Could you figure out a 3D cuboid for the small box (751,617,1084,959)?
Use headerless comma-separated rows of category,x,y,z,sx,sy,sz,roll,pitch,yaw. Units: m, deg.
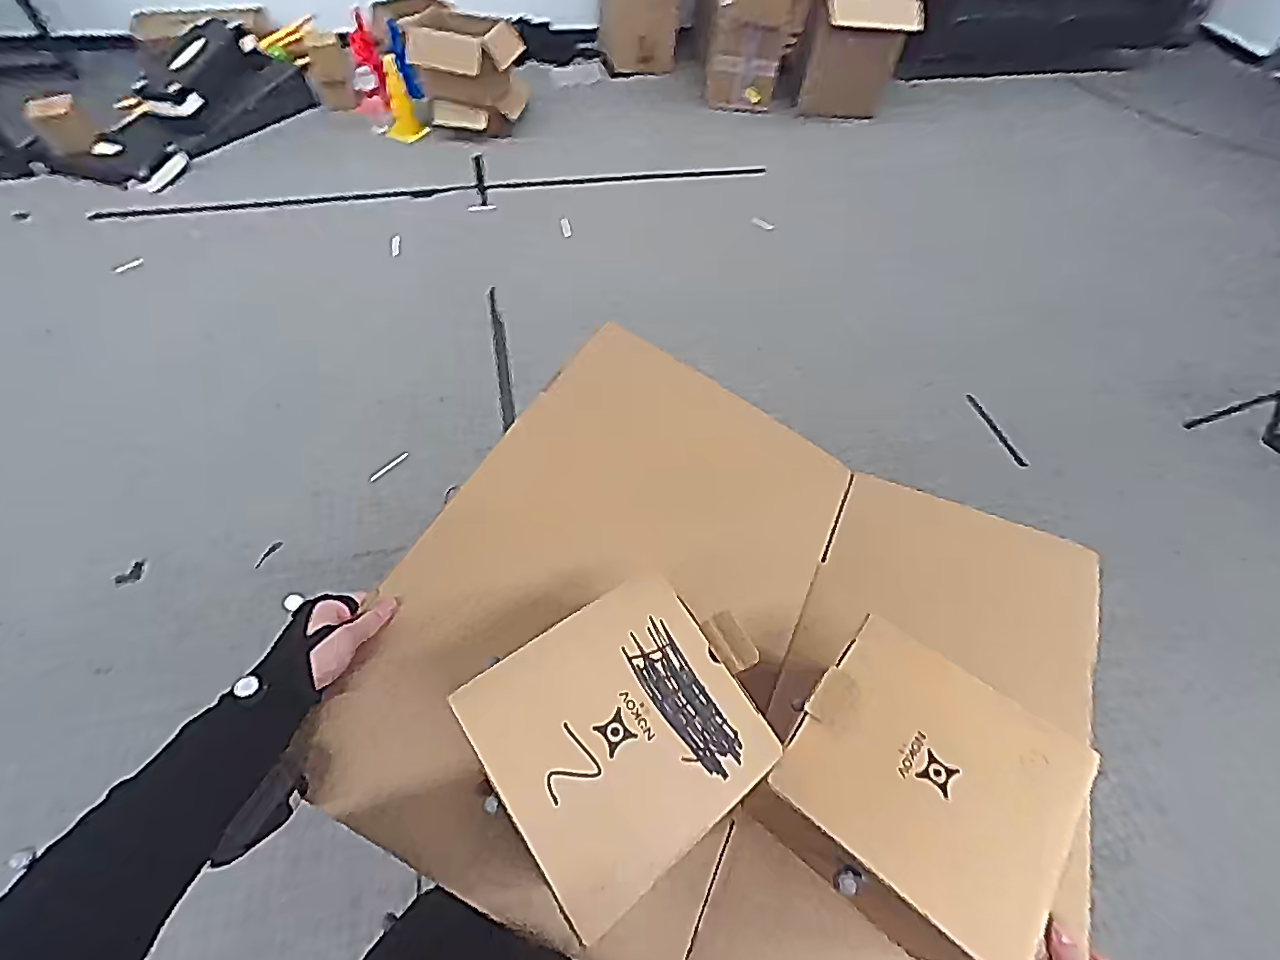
small box,0.214,0.256,0.461,0.179,0.176,0.168,31,62,25
